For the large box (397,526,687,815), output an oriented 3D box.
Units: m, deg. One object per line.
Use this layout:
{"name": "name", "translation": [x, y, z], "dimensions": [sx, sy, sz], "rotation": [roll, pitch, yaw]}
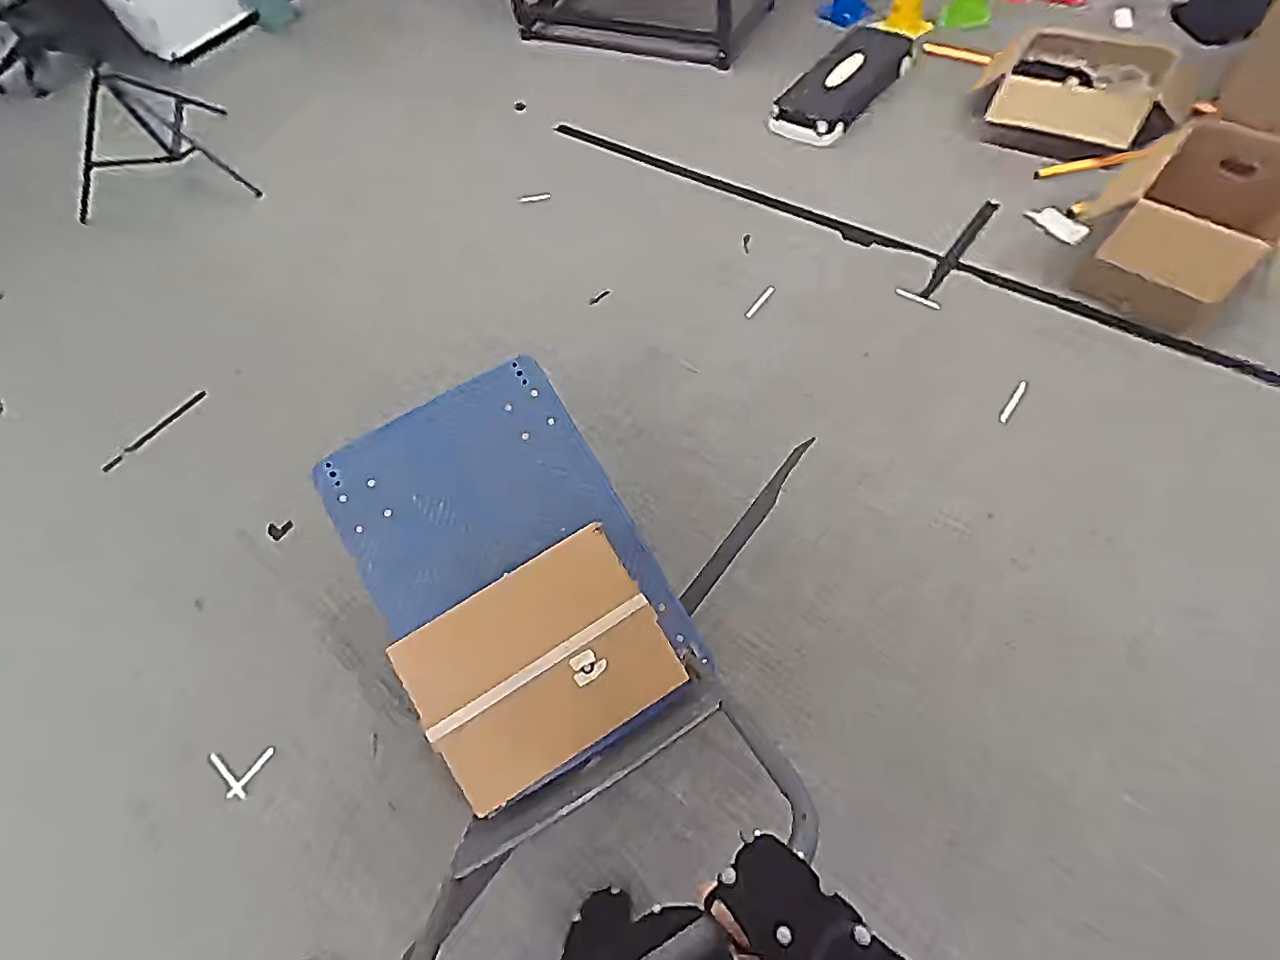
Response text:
{"name": "large box", "translation": [-0.174, 0.339, 1.061], "dimensions": [0.408, 0.320, 0.320], "rotation": [-32, 85, -9]}
